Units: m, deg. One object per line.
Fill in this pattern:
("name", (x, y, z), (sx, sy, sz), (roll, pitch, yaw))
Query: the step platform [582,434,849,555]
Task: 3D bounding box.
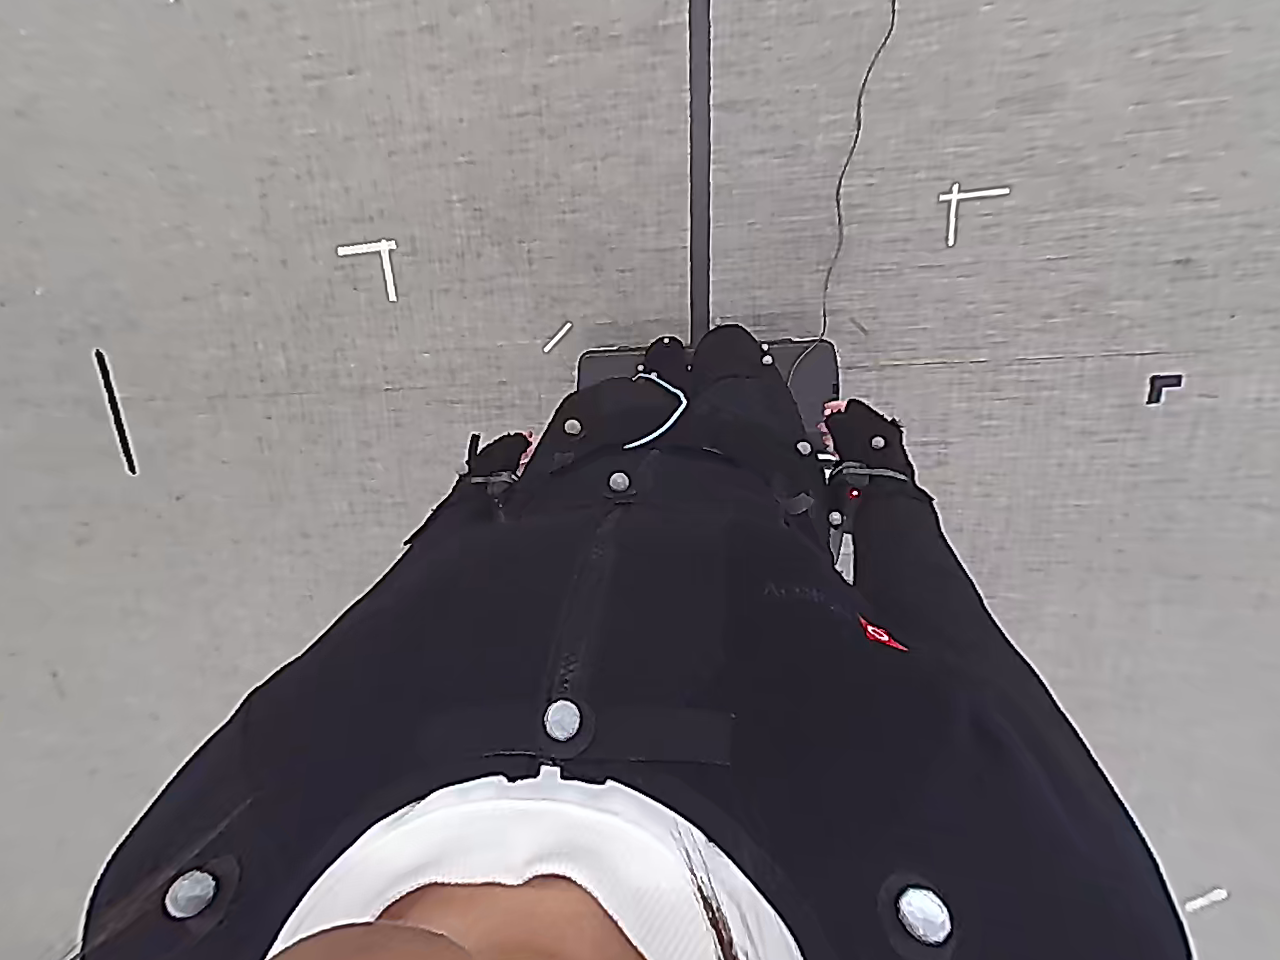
("step platform", (0.190, 0.042, 1.435), (0.684, 0.204, 0.286), (-2, 102, 9))
